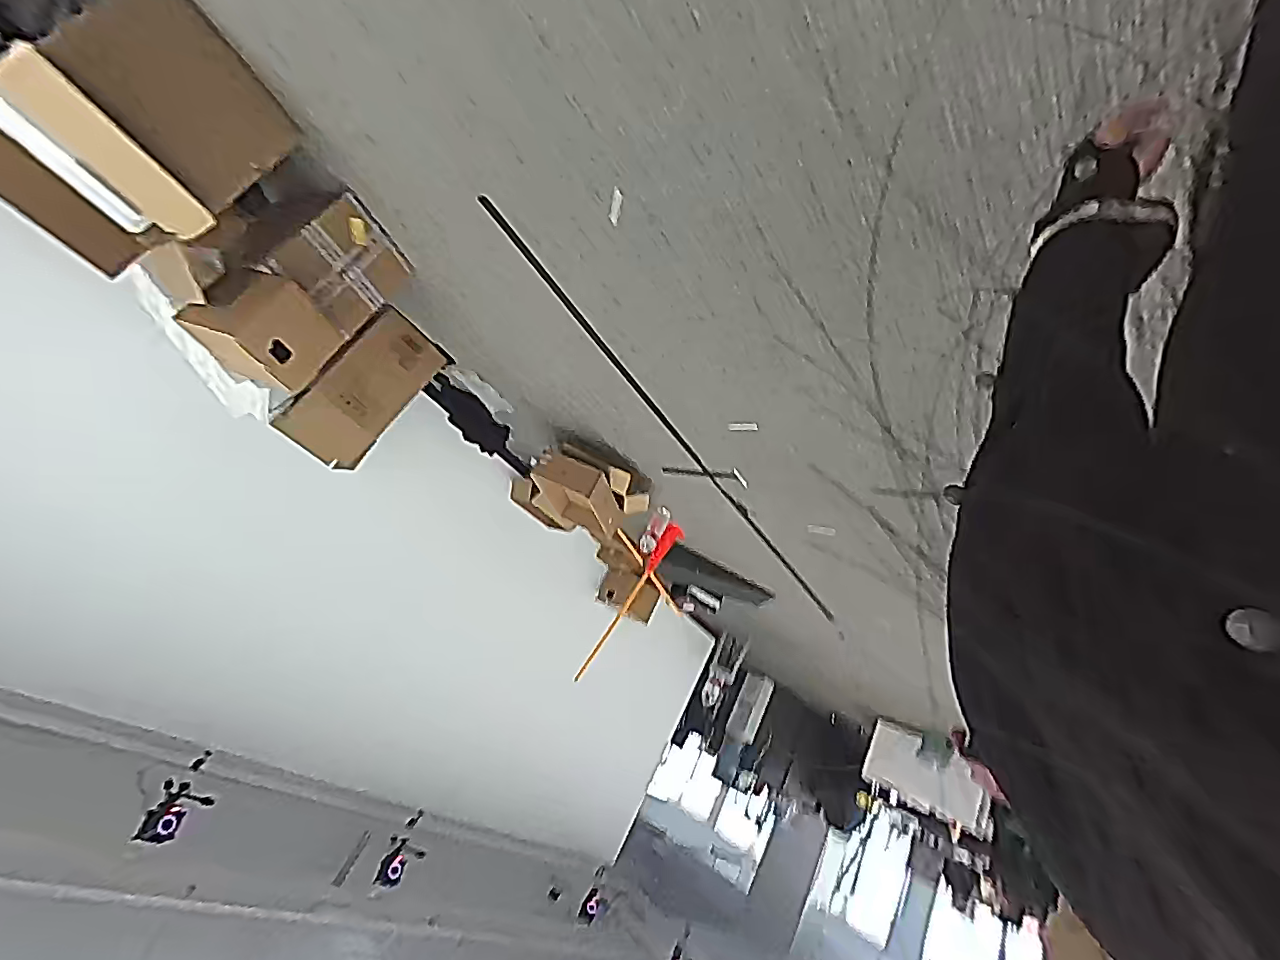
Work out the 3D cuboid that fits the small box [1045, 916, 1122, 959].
[{"bbox_3d":[1.429,1.553,1.739,0.168,0.176,0.179,5,148,48],"label":"small box"}]
